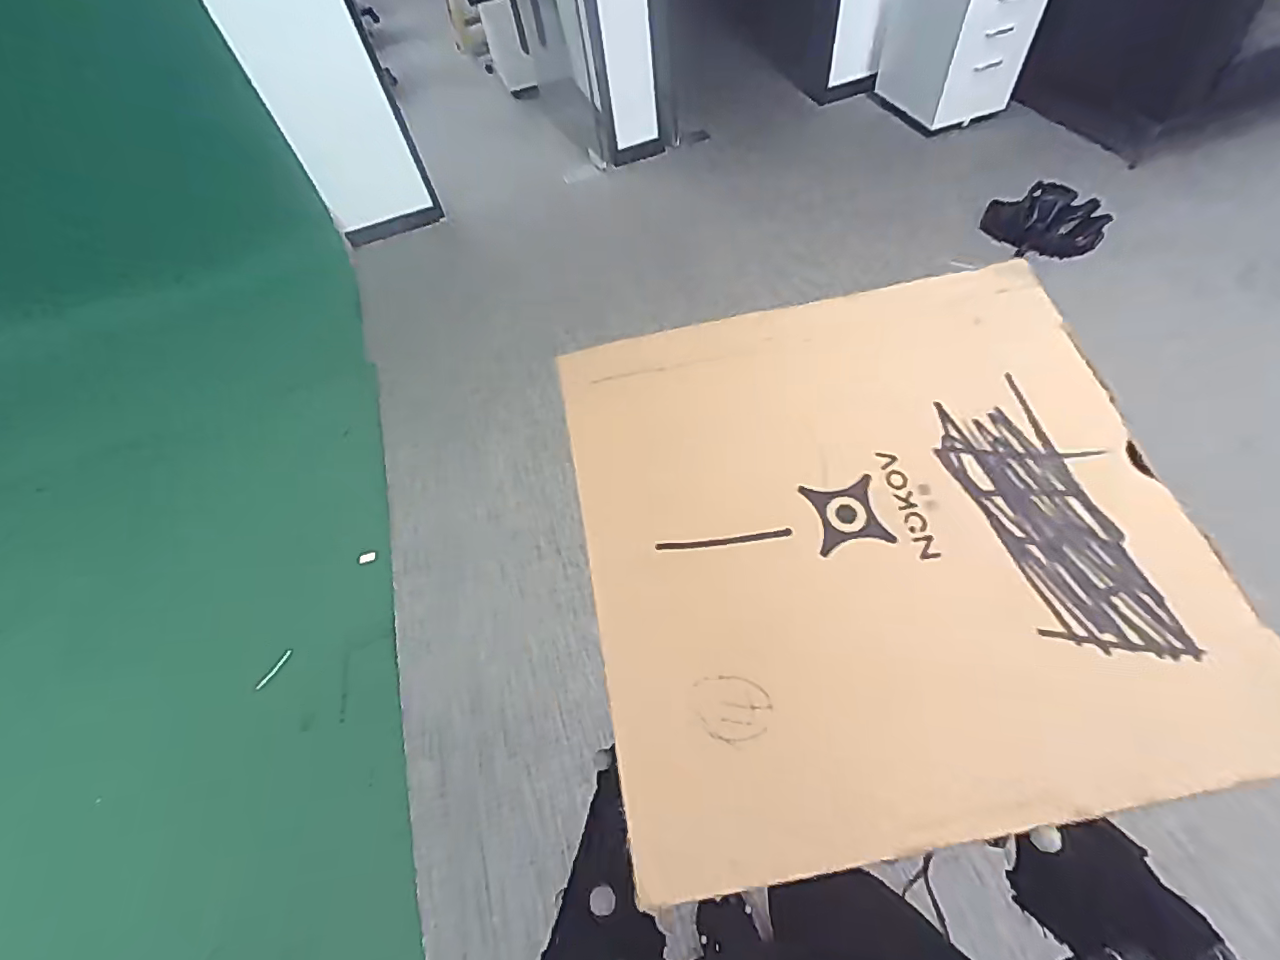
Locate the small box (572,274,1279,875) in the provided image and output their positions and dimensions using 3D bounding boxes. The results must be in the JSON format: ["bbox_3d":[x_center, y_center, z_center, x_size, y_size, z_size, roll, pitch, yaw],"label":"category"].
[{"bbox_3d":[0.077,0.043,0.246,0.179,0.176,0.168,-13,65,-4],"label":"small box"}]
